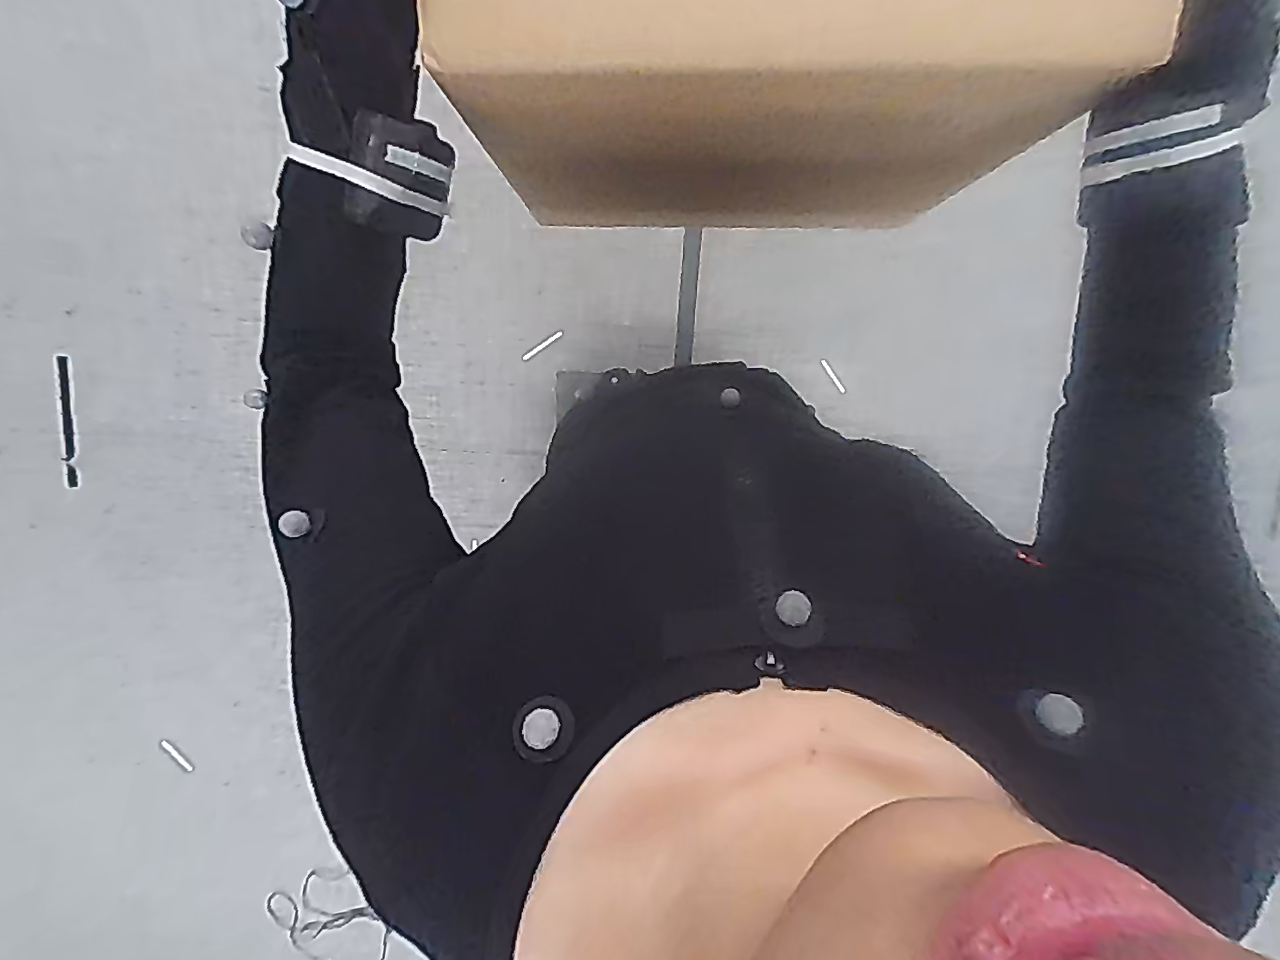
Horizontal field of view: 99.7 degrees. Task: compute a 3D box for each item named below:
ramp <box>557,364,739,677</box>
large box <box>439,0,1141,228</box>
[{"bbox_3d":[0.004,0.169,1.600,0.509,0.206,0.991,1,100,-1],"label":"ramp"},{"bbox_3d":[0.081,-0.411,0.432,0.408,0.320,0.320,0,100,0],"label":"large box"}]
